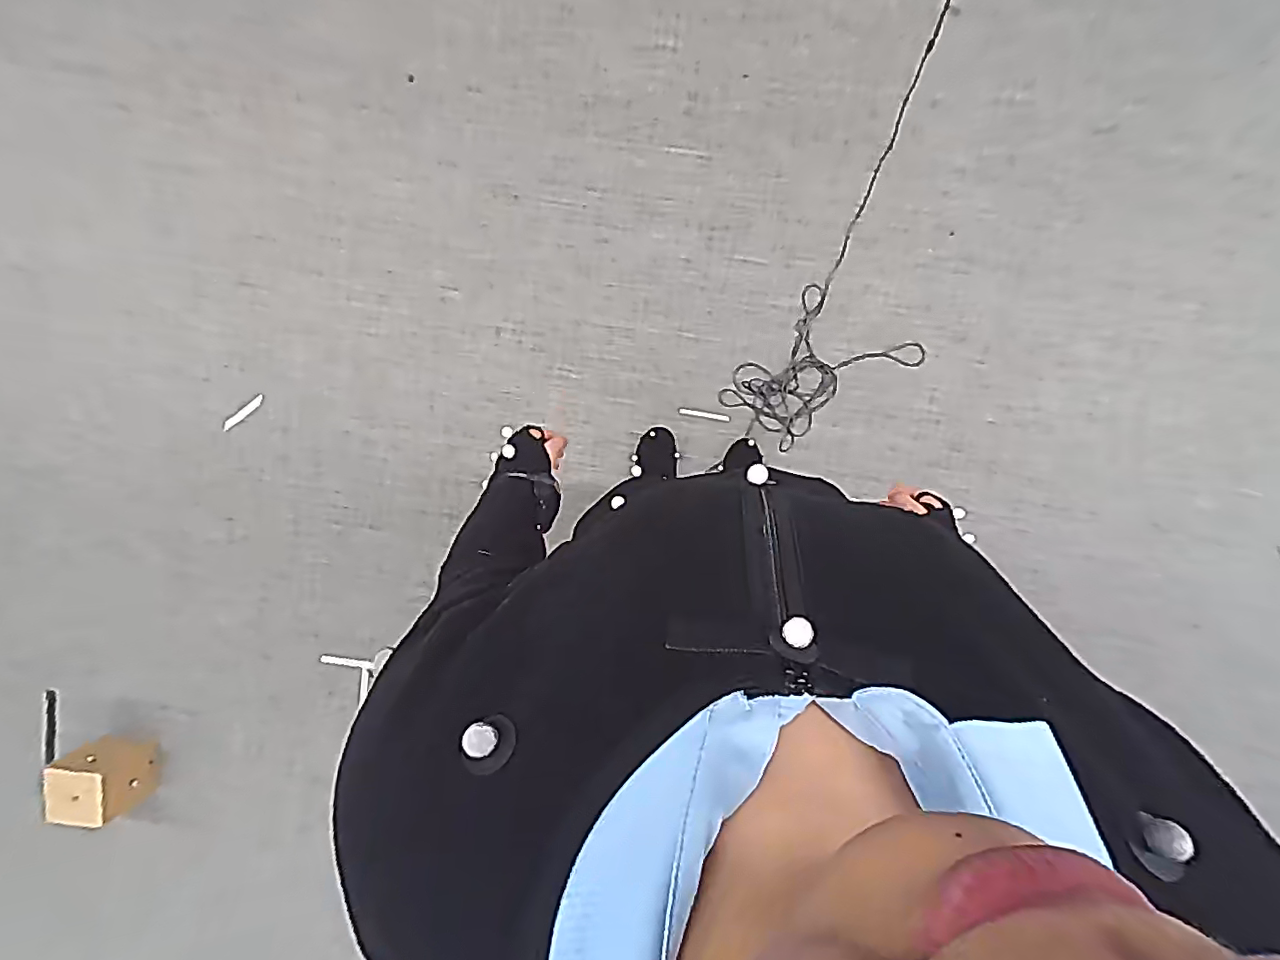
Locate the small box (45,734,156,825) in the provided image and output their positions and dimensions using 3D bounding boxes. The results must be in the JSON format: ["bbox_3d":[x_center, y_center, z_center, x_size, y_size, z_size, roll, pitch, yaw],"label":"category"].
[{"bbox_3d":[-1.590,0.882,1.604,0.179,0.176,0.168,5,96,3],"label":"small box"}]
